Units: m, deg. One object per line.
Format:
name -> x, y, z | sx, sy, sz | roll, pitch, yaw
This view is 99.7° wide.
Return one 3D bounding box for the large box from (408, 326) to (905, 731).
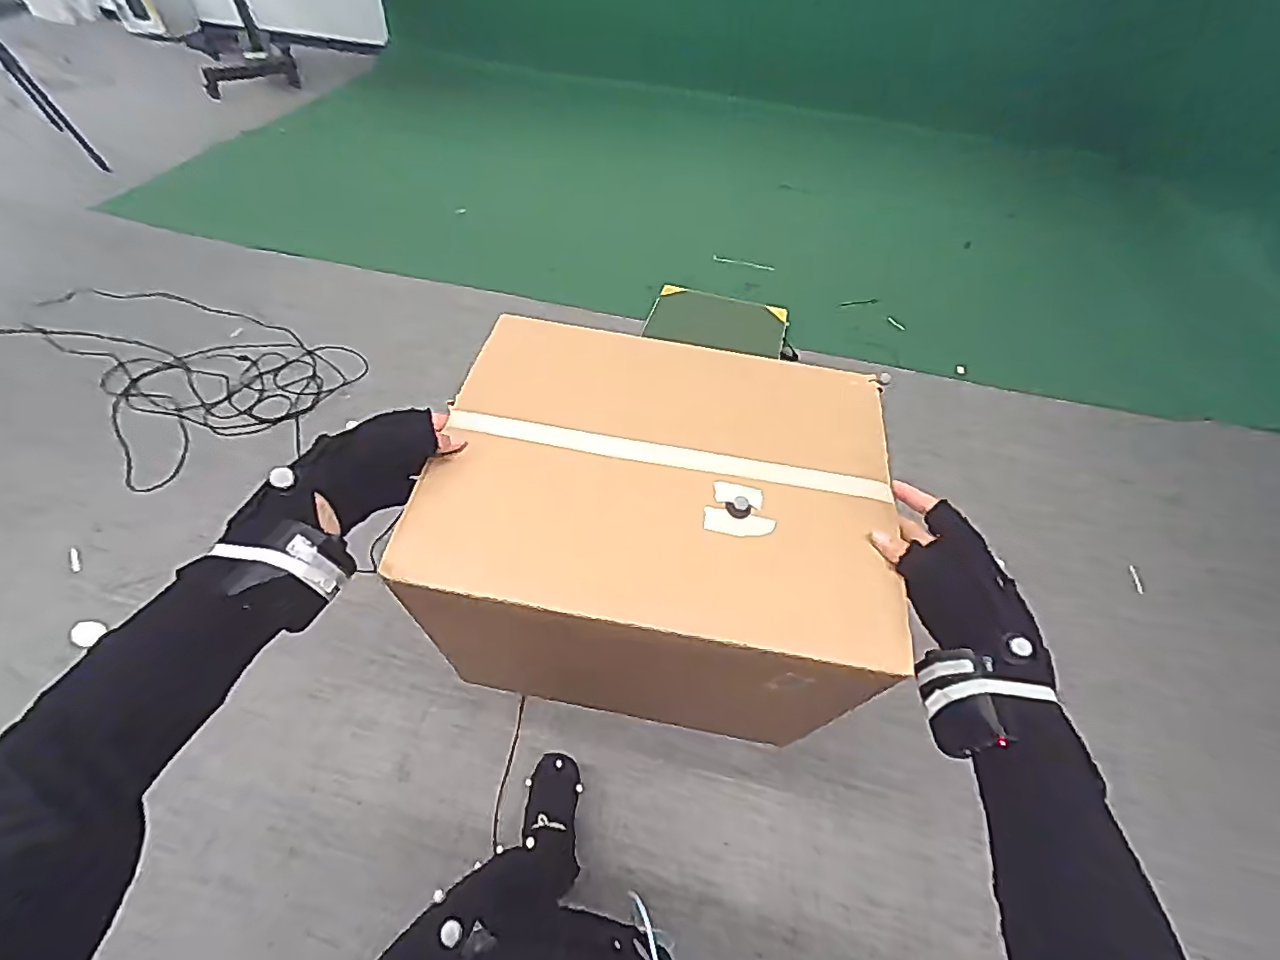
large box -> 0.019, 0.068, 0.625 | 0.408, 0.320, 0.320 | 10, 56, 1
